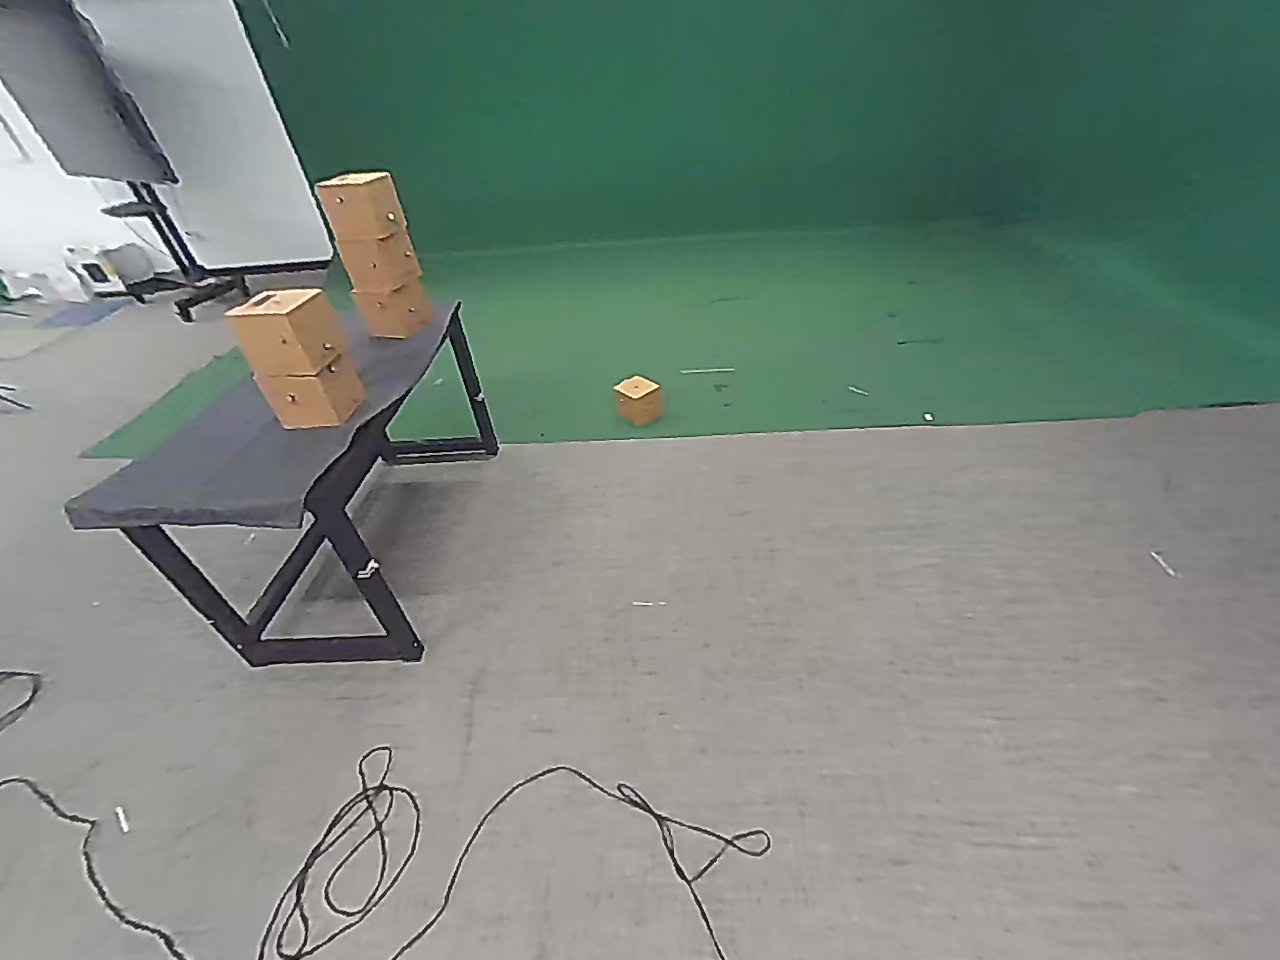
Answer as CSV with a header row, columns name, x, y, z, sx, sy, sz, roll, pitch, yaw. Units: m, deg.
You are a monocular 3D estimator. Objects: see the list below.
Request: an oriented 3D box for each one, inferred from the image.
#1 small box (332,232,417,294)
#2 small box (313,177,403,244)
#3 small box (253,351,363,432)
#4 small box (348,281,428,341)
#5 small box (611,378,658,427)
name,x,y,z,sx,sy,sz,roll,pitch,yaw
small box,-0.917,-0.758,1.889,0.179,0.176,0.168,5,39,17
small box,-0.926,-0.890,1.791,0.179,0.176,0.168,3,40,11
small box,-0.928,-0.247,1.530,0.179,0.176,0.168,-4,39,4
small box,-0.913,-0.621,1.977,0.179,0.176,0.168,9,41,21
small box,-0.024,-0.391,2.753,0.168,0.176,0.179,-33,46,-29
